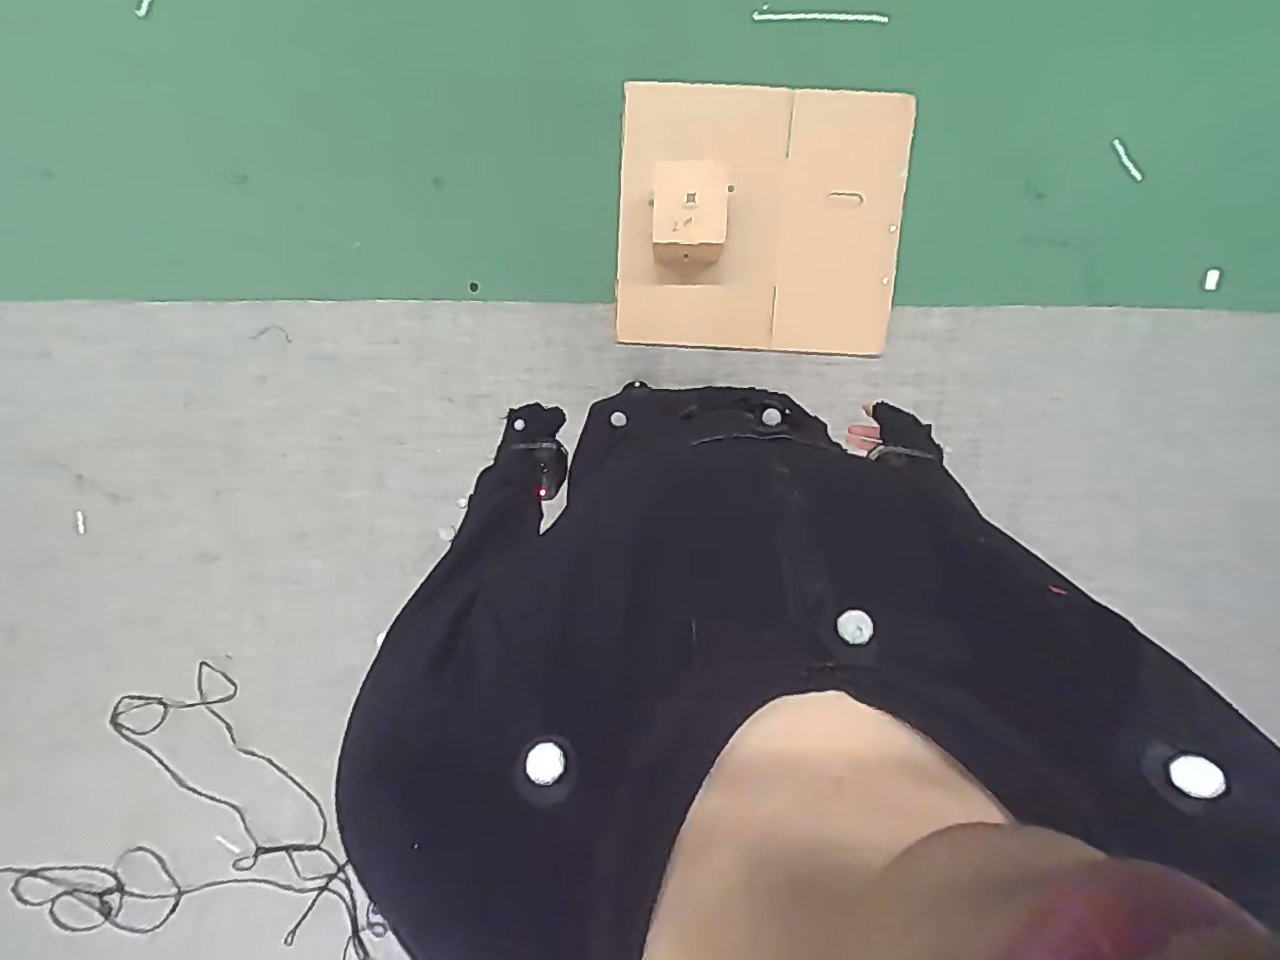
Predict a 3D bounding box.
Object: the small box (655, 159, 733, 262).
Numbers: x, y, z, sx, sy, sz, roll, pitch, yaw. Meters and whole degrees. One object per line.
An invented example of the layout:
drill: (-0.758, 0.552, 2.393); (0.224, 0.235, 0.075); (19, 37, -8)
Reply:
small box: (0.120, -0.620, 1.259); (0.168, 0.176, 0.179); (2, 100, 3)
